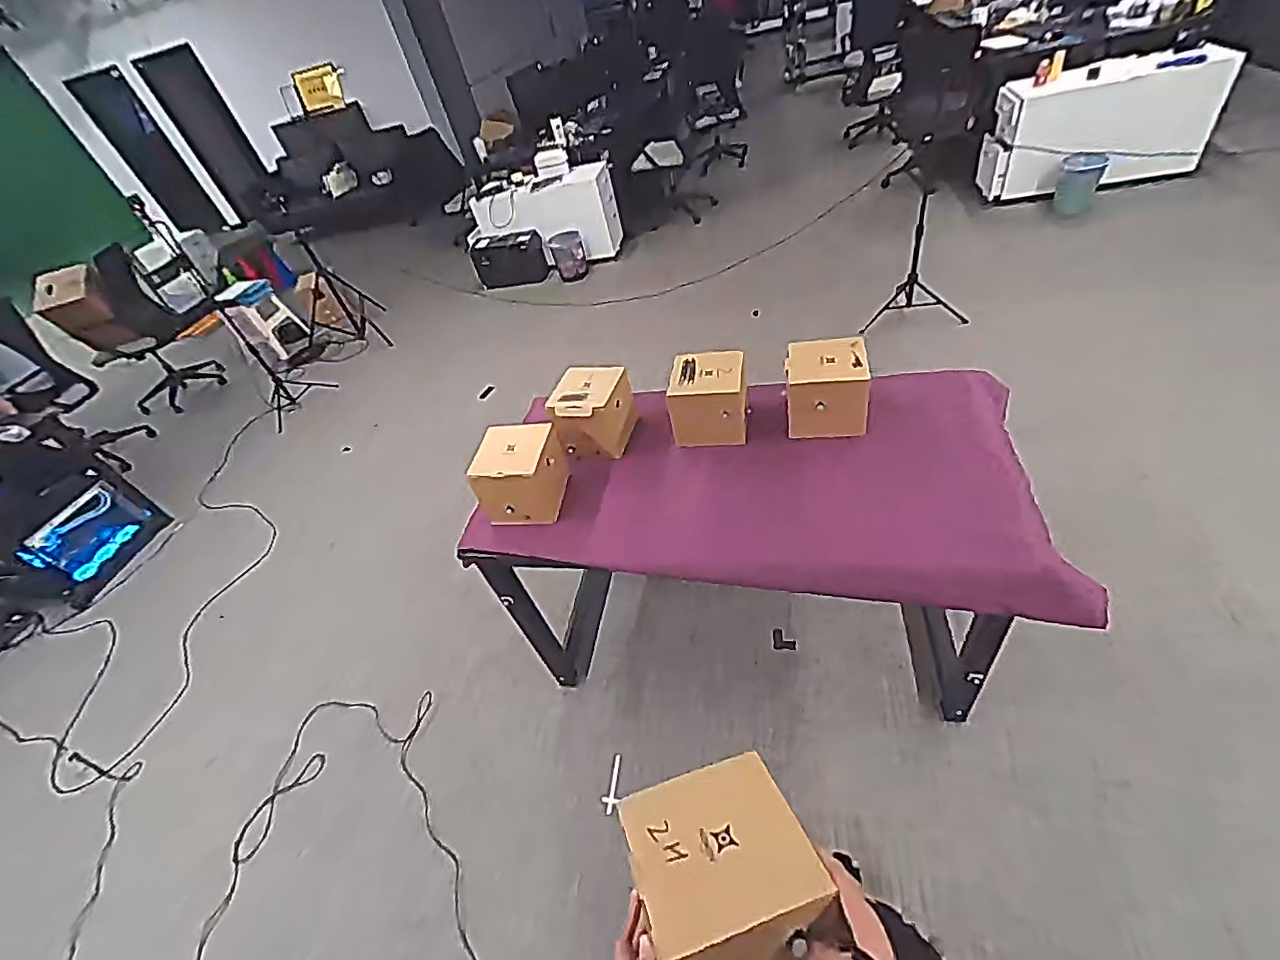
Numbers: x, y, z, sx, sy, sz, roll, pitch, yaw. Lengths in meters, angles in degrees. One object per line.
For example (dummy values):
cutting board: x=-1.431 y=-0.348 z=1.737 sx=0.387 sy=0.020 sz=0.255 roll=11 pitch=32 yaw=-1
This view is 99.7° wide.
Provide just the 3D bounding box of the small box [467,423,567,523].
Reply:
small box: x=-0.283 y=-0.016 z=1.296 sx=0.168 sy=0.176 sz=0.179 roll=-2 pitch=45 yaw=12

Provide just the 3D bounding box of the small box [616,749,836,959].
small box: x=0.086 y=0.435 z=0.576 sx=0.179 sy=0.176 sz=0.168 roll=-14 pitch=22 yaw=-11

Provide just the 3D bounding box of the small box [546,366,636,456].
small box: x=-0.119 y=-0.180 z=1.417 sx=0.168 sy=0.176 sz=0.179 roll=4 pitch=47 yaw=19
